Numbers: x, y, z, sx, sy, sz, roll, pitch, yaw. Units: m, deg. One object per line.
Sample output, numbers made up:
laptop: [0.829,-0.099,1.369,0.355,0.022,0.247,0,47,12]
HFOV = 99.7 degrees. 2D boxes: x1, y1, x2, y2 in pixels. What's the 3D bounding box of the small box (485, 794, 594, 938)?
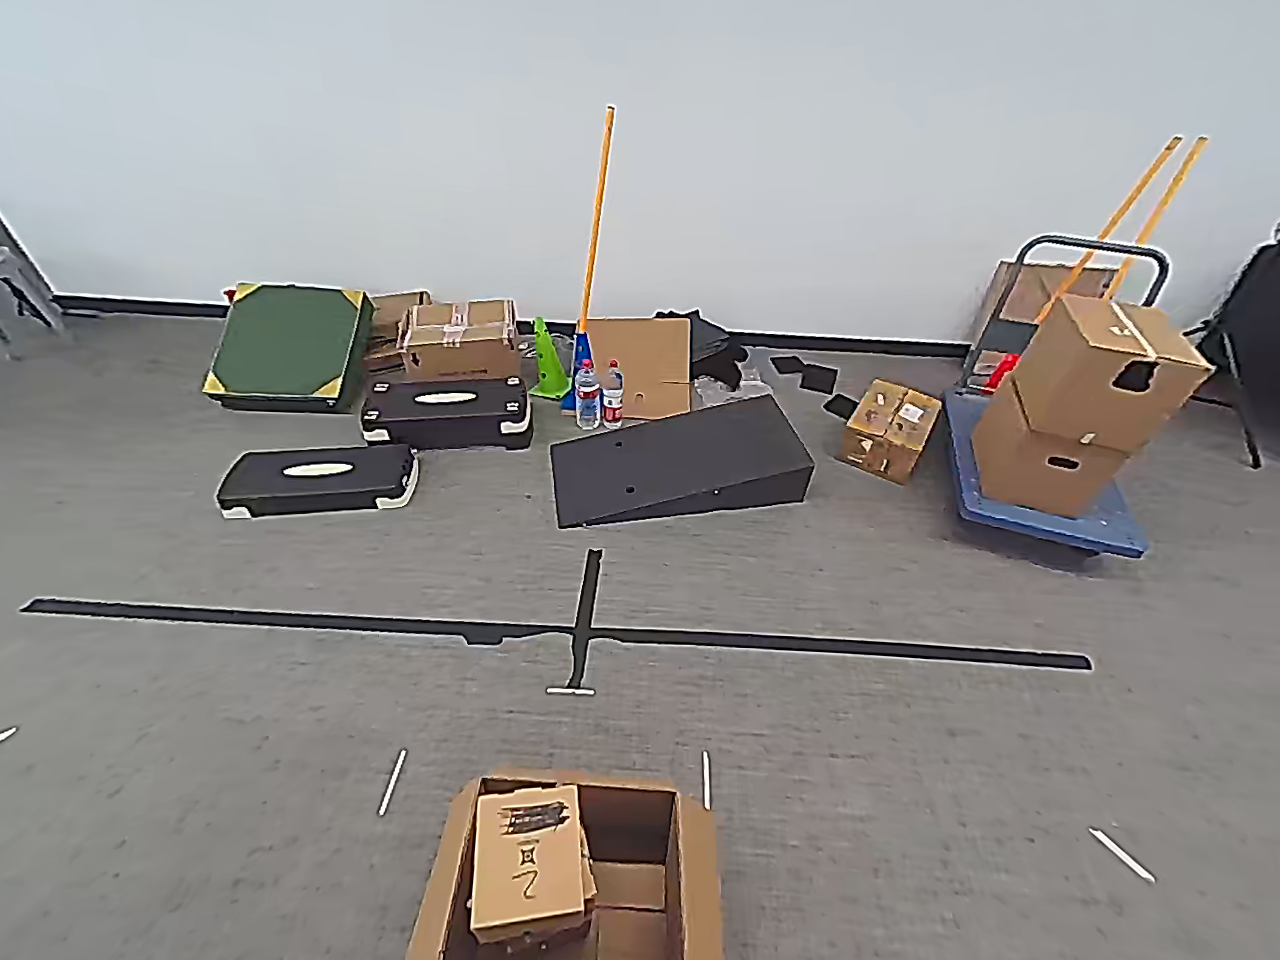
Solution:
small box: [-0.191,0.739,1.034,0.179,0.176,0.168,-8,46,-17]
